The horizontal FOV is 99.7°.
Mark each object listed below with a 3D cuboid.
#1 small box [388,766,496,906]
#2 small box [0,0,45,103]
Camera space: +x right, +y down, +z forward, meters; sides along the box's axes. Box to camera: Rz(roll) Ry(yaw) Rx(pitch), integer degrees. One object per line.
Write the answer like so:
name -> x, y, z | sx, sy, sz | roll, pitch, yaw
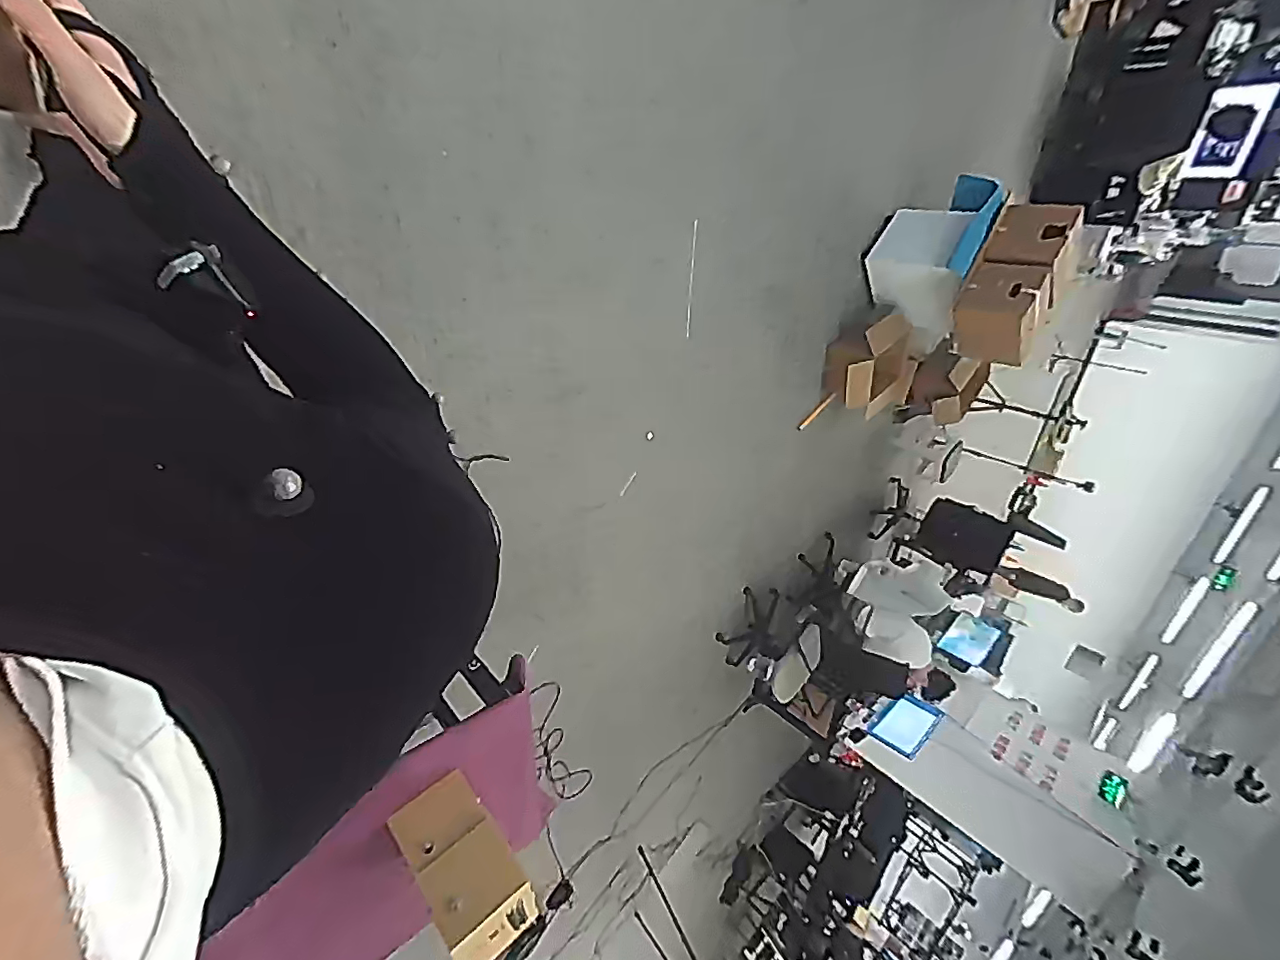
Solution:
small box -> -0.466, 0.823, 1.263 | 0.179, 0.176, 0.168 | -27, 130, -35
small box -> -0.513, -0.376, 0.335 | 0.179, 0.176, 0.168 | -11, 98, -40
